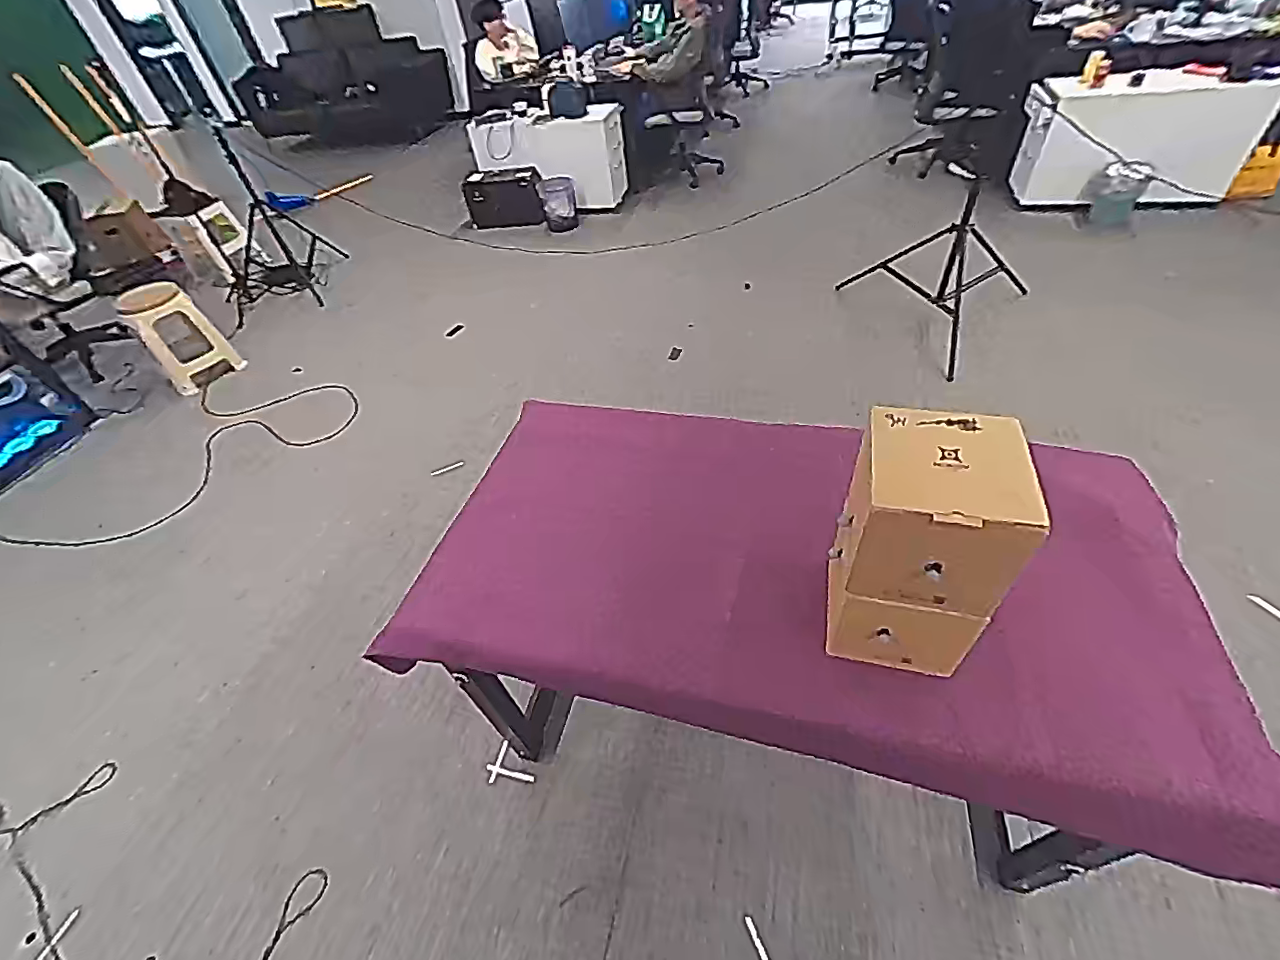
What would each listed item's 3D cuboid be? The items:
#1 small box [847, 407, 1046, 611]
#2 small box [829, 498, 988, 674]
[{"bbox_3d":[0.354,0.036,0.659,0.168,0.176,0.179,8,48,16],"label":"small box"},{"bbox_3d":[0.369,0.152,0.773,0.168,0.176,0.179,7,47,15],"label":"small box"}]
